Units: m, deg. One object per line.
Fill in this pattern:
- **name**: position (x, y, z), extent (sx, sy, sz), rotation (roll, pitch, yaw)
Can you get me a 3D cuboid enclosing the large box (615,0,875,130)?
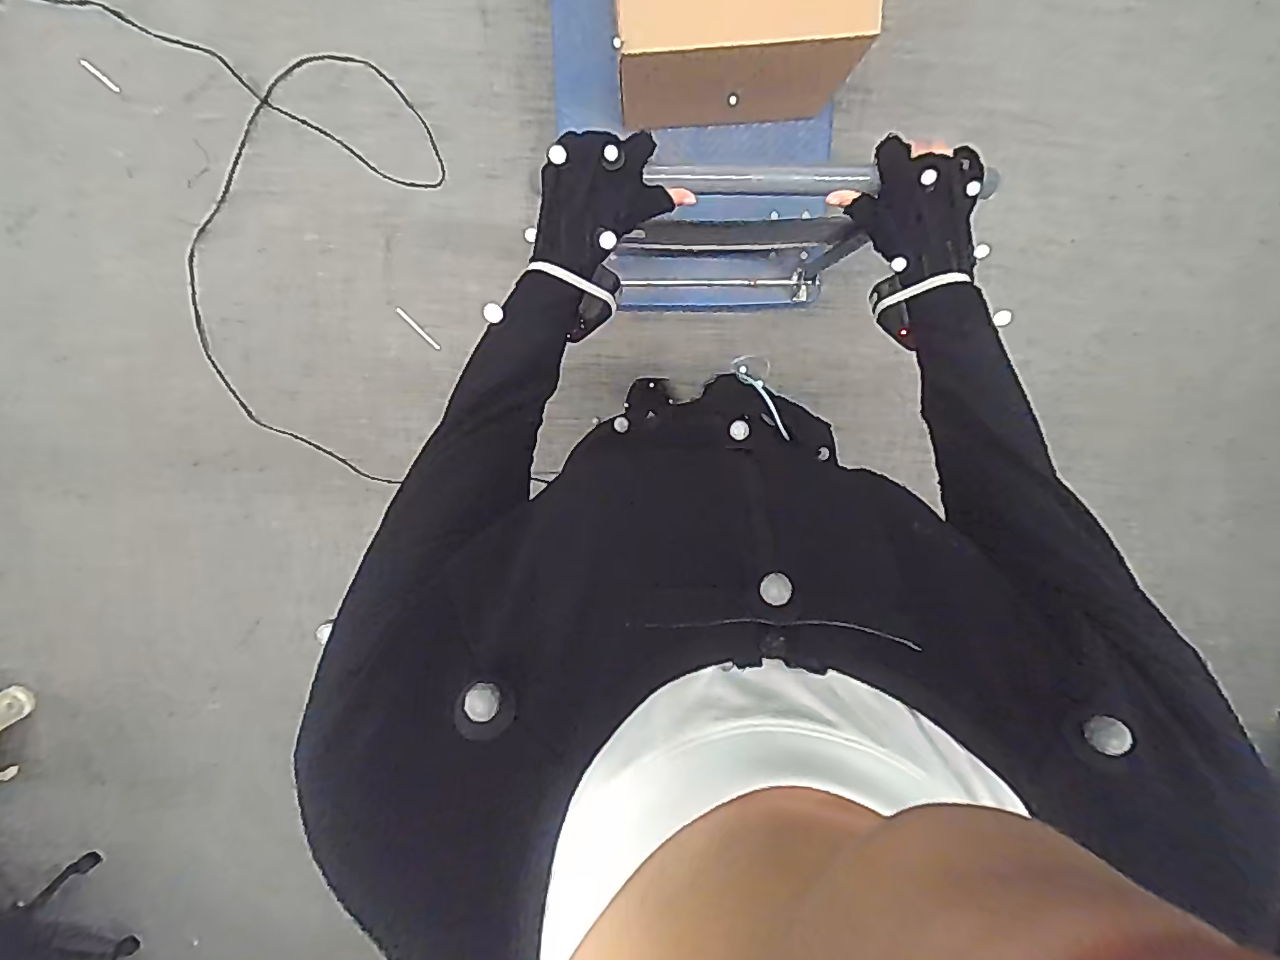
- **large box**: position (0.159, -0.863, 0.959), extent (0.408, 0.320, 0.320), rotation (-4, 103, 2)
